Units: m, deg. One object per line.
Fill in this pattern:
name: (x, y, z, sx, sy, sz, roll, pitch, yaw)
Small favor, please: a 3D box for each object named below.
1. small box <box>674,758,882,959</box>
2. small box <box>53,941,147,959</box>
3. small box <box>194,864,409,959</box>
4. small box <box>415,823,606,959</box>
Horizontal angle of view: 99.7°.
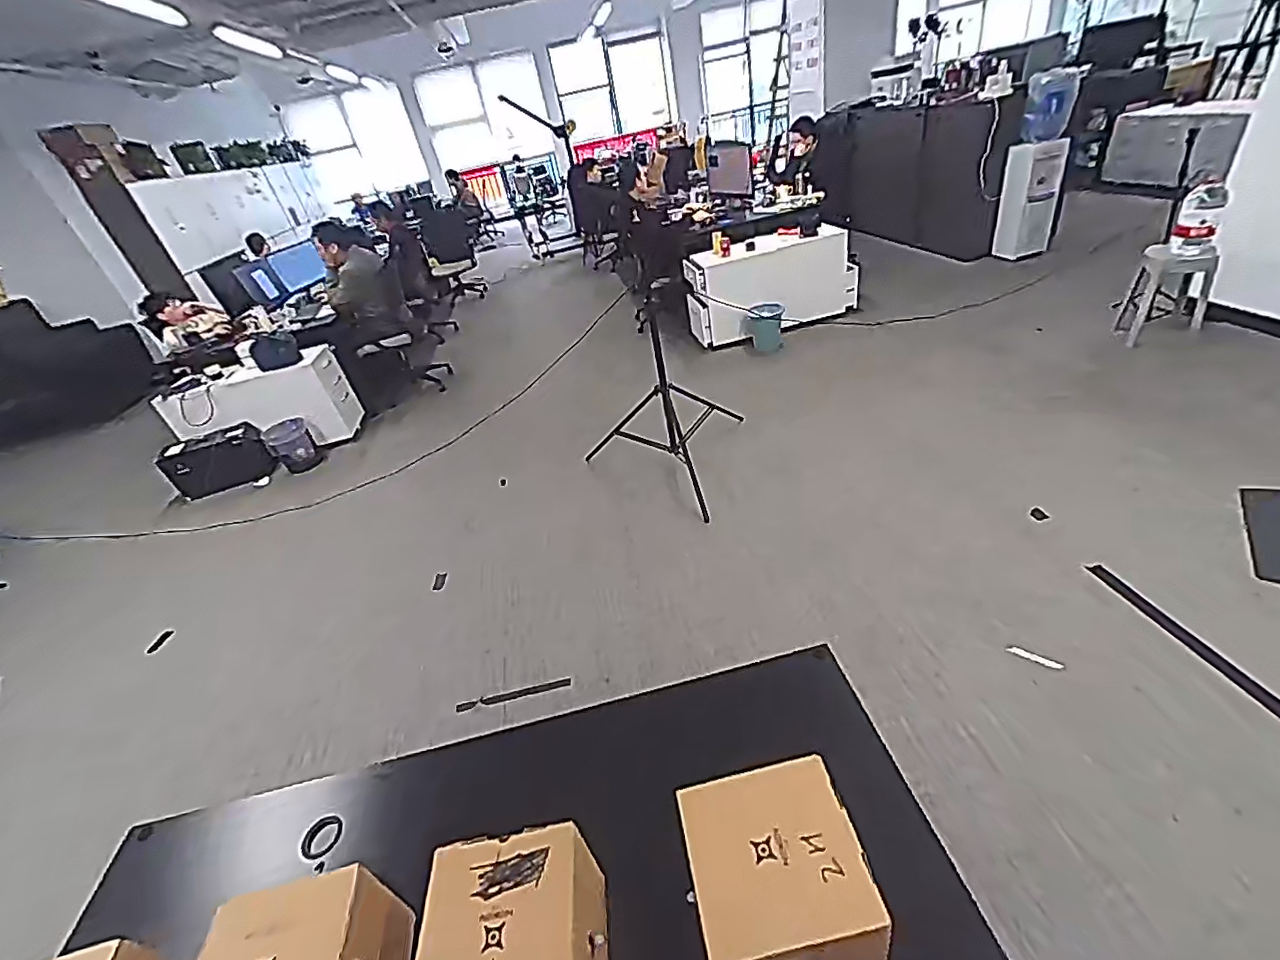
small box: (0.148, 0.453, 0.608, 0.179, 0.176, 0.168, -13, 34, -1)
small box: (-0.631, 0.644, 0.578, 0.179, 0.176, 0.168, -14, 33, -5)
small box: (-0.378, 0.577, 0.599, 0.168, 0.176, 0.179, -14, 33, -4)
small box: (-0.134, 0.523, 0.598, 0.168, 0.176, 0.179, -11, 34, 1)
